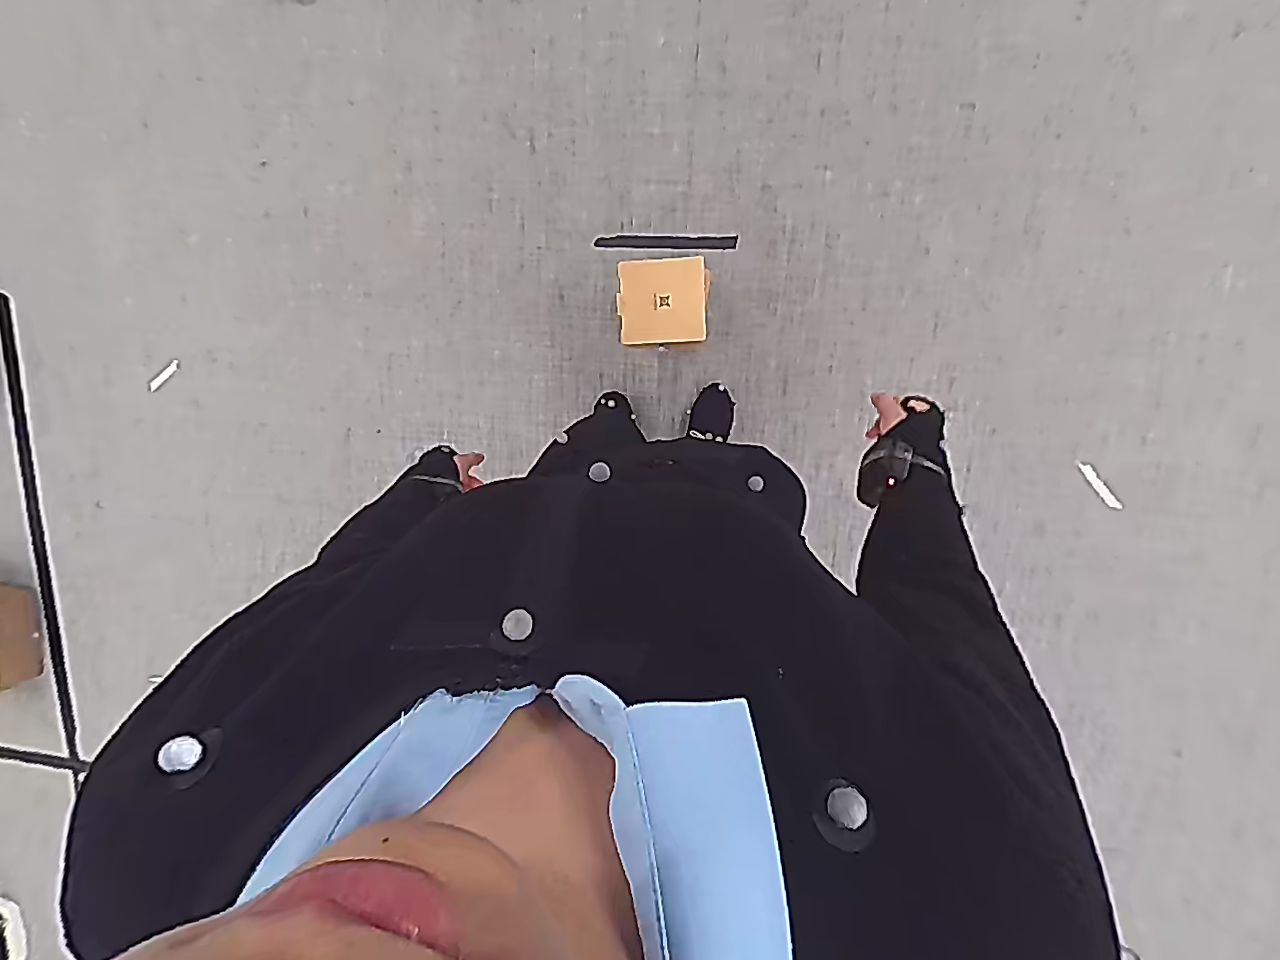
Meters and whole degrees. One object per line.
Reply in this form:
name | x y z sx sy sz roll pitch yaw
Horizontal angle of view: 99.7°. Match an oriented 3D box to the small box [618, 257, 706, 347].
small box | 0.053 -0.377 1.170 0.179 0.176 0.168 -1 101 8
